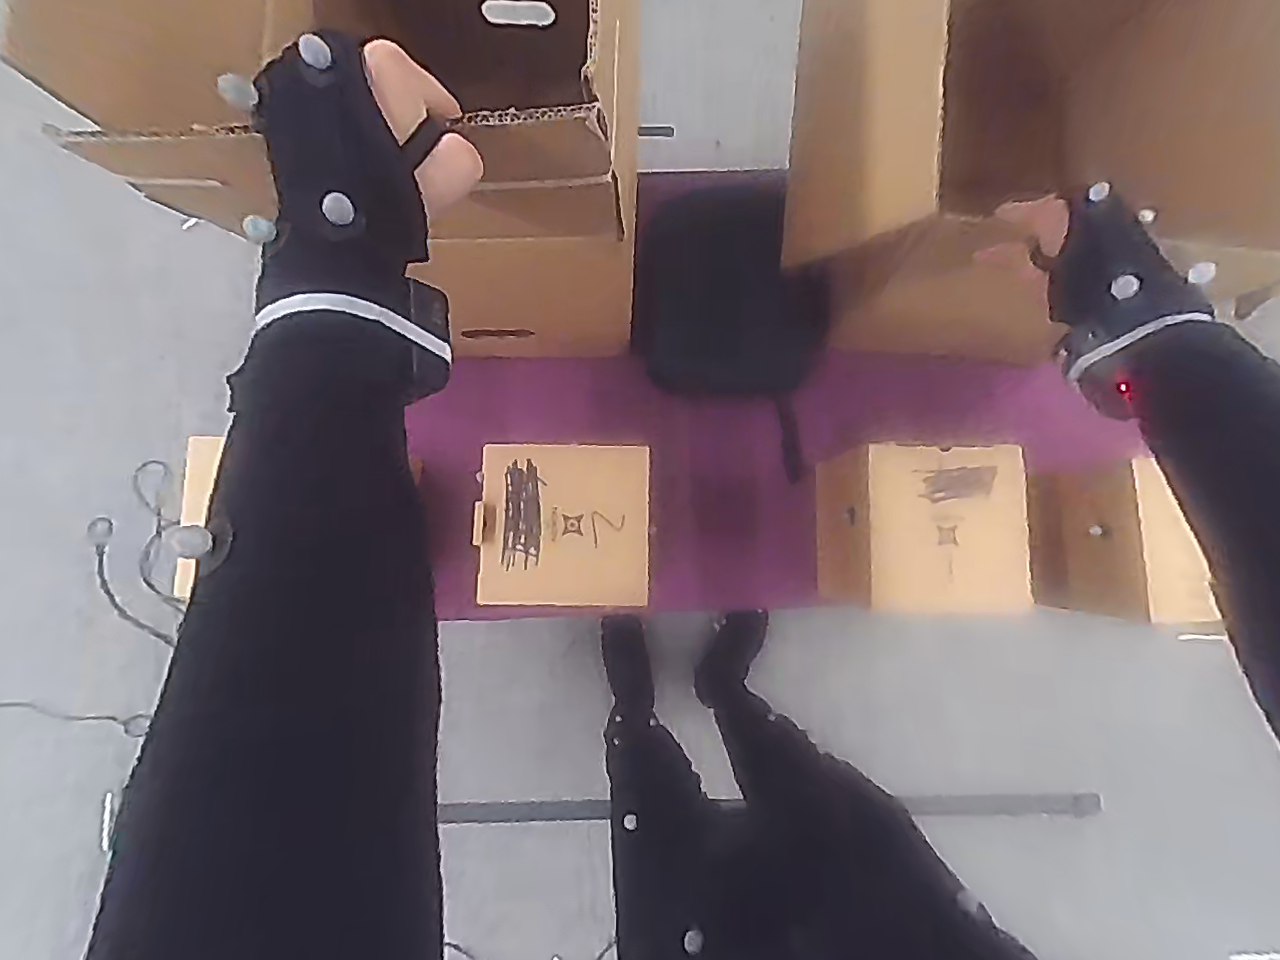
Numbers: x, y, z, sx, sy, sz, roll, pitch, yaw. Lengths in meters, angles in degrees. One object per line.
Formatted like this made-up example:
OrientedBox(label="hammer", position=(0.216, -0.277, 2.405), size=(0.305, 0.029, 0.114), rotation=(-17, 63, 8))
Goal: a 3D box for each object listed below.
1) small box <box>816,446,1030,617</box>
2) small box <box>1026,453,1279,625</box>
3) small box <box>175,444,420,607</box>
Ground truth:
OrientedBox(label="small box", position=(0.315, 0.060, 0.636), size=(0.168, 0.176, 0.179), rotation=(0, 85, 0))
OrientedBox(label="small box", position=(0.594, 0.069, 0.636), size=(0.168, 0.176, 0.179), rotation=(-2, 84, 0))
OrientedBox(label="small box", position=(-0.380, 0.055, 0.631), size=(0.179, 0.176, 0.168), rotation=(1, 84, -2))
